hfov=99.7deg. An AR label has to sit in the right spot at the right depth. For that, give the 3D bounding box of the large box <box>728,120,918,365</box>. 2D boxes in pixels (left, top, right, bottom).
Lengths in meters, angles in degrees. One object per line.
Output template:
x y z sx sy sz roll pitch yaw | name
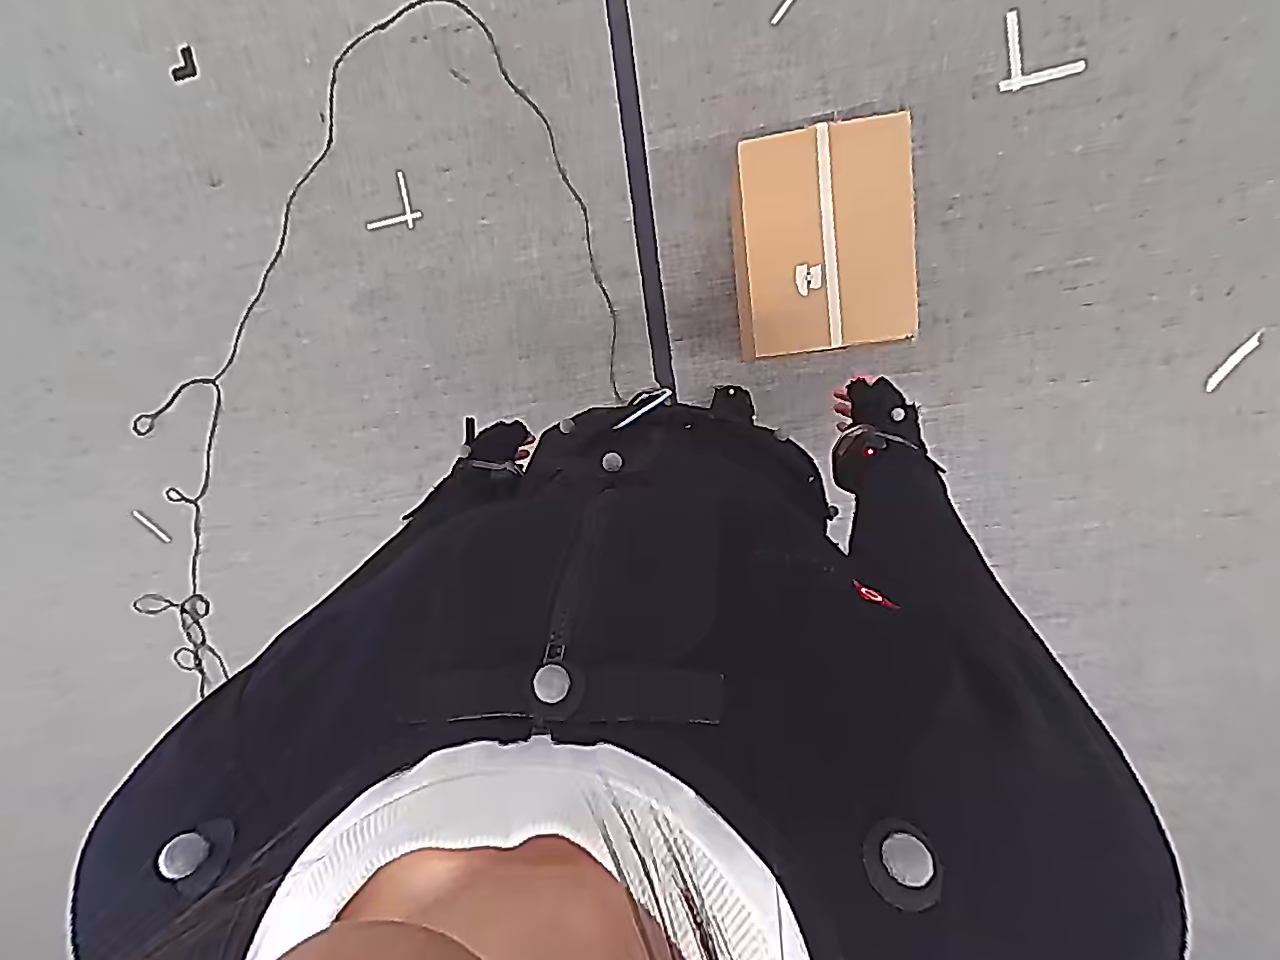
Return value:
0.378 -0.479 1.185 0.320 0.320 0.408 -6 100 8 | large box
